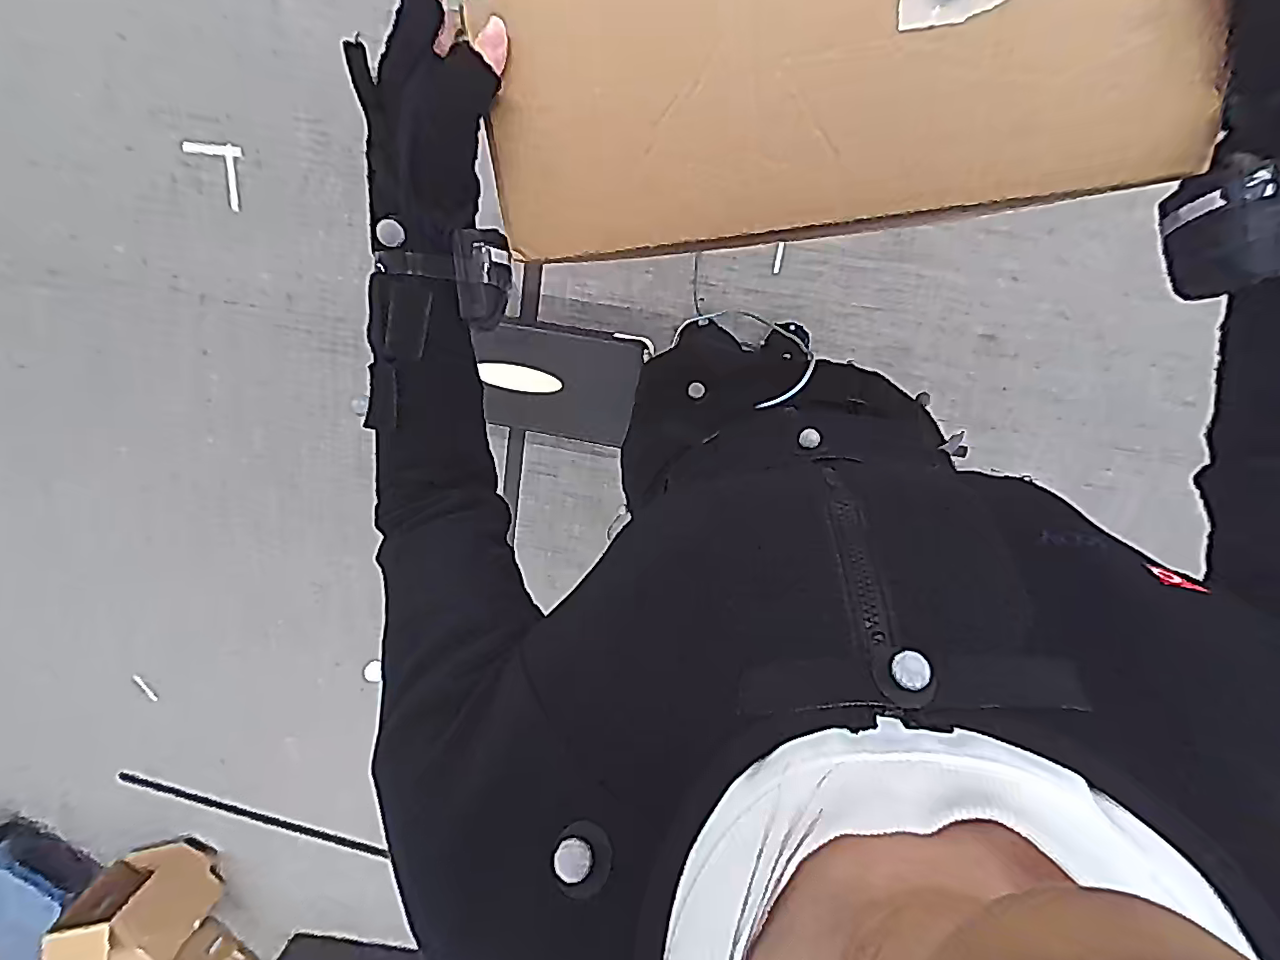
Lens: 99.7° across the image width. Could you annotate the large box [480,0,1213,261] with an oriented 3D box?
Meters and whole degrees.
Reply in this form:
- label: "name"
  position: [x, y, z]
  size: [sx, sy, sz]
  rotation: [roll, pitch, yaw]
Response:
- label: "large box"
  position: [0.115, -0.367, 0.428]
  size: [0.408, 0.320, 0.320]
  rotation: [-4, 112, 10]
